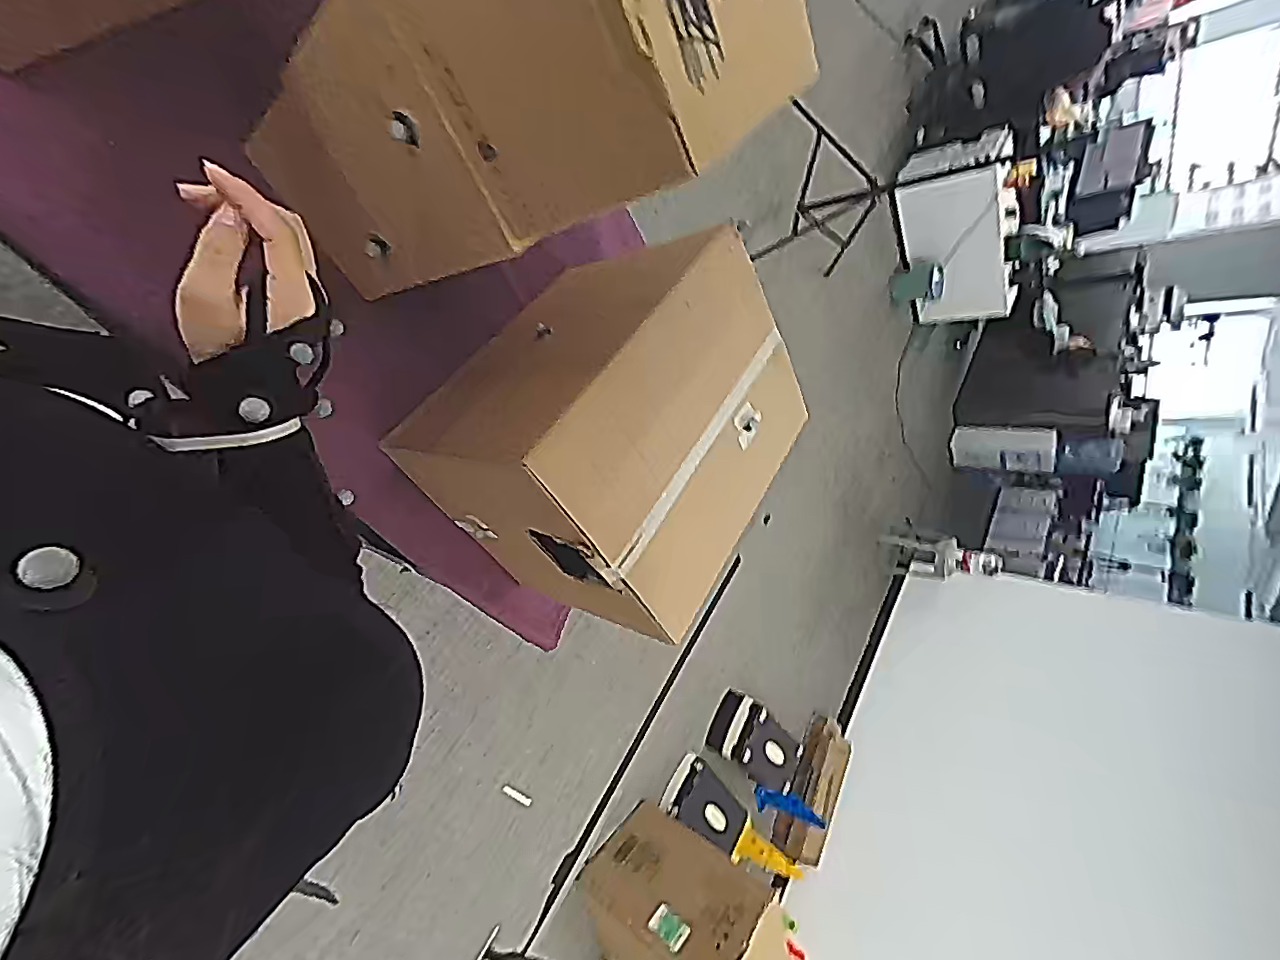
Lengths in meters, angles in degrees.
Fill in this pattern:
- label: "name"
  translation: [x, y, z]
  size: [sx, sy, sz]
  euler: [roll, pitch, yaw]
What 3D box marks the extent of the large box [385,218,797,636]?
- label: "large box"
  translation: [-0.042, -0.072, 0.731]
  size: [0.408, 0.320, 0.320]
  euler: [-55, 132, -28]
